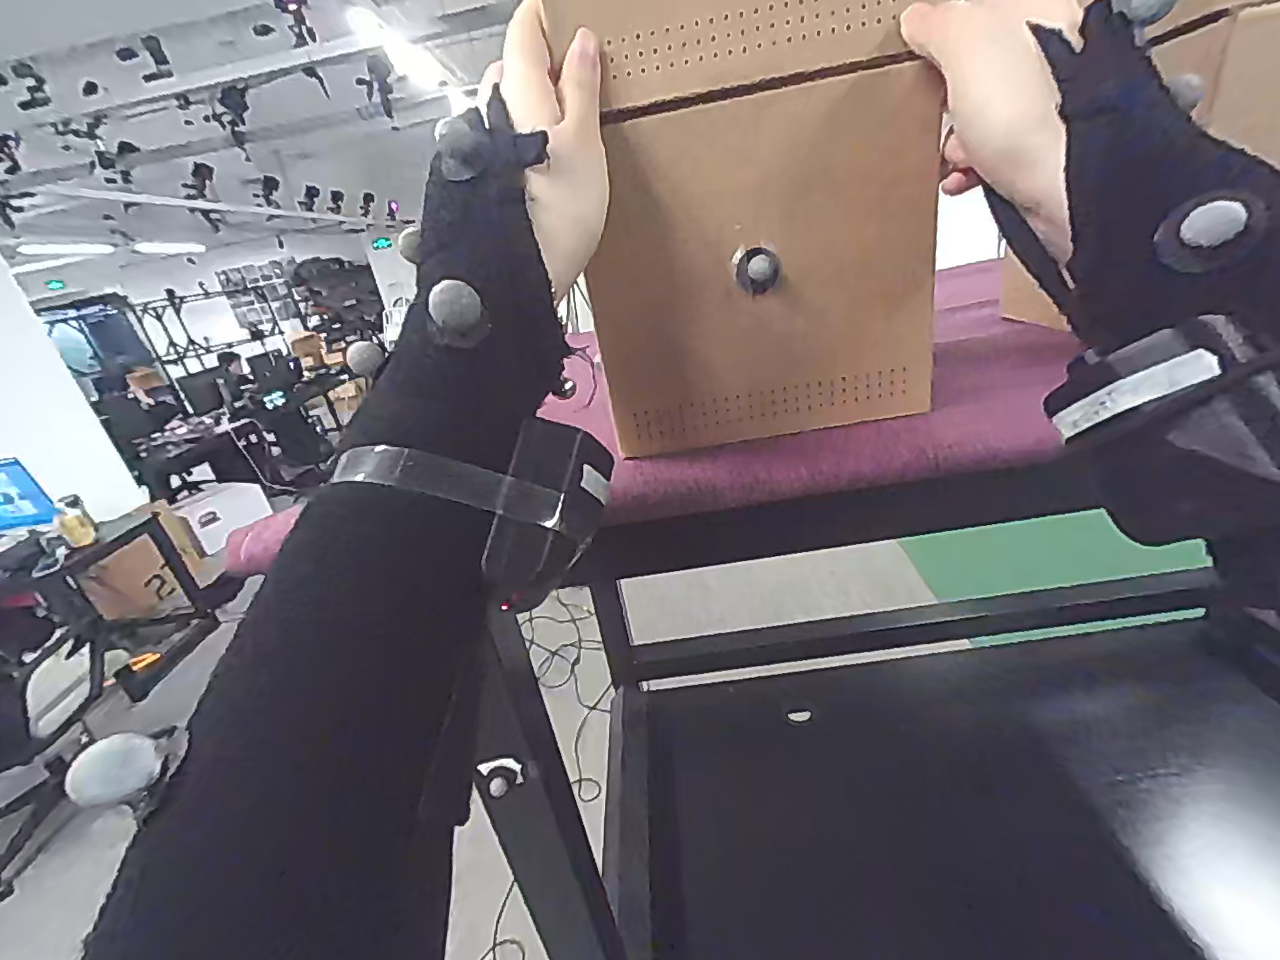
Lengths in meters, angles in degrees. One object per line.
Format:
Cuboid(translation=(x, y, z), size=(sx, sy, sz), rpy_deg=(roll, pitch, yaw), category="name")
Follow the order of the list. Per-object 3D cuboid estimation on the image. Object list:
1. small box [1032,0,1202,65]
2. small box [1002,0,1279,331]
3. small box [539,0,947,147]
Cuboid(translation=(0.345, -0.348, 0.286), size=(0.179, 0.176, 0.168), rpy_deg=(-8, 24, 5), category="small box")
Cuboid(translation=(0.372, -0.199, 0.352), size=(0.168, 0.176, 0.179), rpy_deg=(-7, 23, 6), category="small box")
Cuboid(translation=(0.033, -0.284, 0.272), size=(0.179, 0.176, 0.168), rpy_deg=(-10, 24, 3), category="small box")
